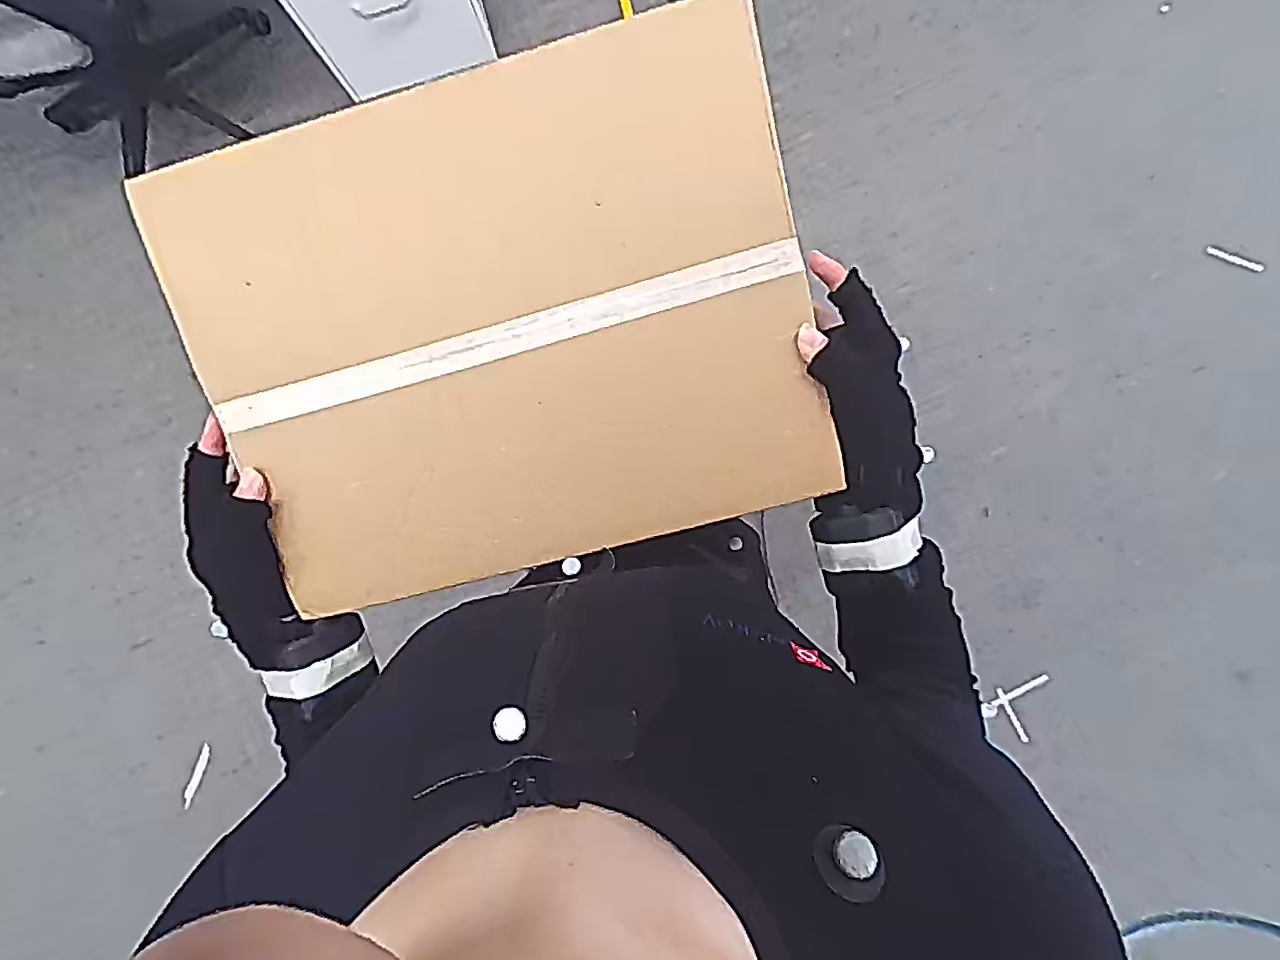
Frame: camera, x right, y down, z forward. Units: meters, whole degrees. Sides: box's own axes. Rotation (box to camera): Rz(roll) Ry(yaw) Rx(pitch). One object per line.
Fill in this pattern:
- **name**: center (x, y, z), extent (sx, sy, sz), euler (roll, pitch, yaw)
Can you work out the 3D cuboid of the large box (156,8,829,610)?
- **large box**: center (-0.089, -0.124, 0.515), extent (0.408, 0.320, 0.320), euler (-14, 100, 5)
